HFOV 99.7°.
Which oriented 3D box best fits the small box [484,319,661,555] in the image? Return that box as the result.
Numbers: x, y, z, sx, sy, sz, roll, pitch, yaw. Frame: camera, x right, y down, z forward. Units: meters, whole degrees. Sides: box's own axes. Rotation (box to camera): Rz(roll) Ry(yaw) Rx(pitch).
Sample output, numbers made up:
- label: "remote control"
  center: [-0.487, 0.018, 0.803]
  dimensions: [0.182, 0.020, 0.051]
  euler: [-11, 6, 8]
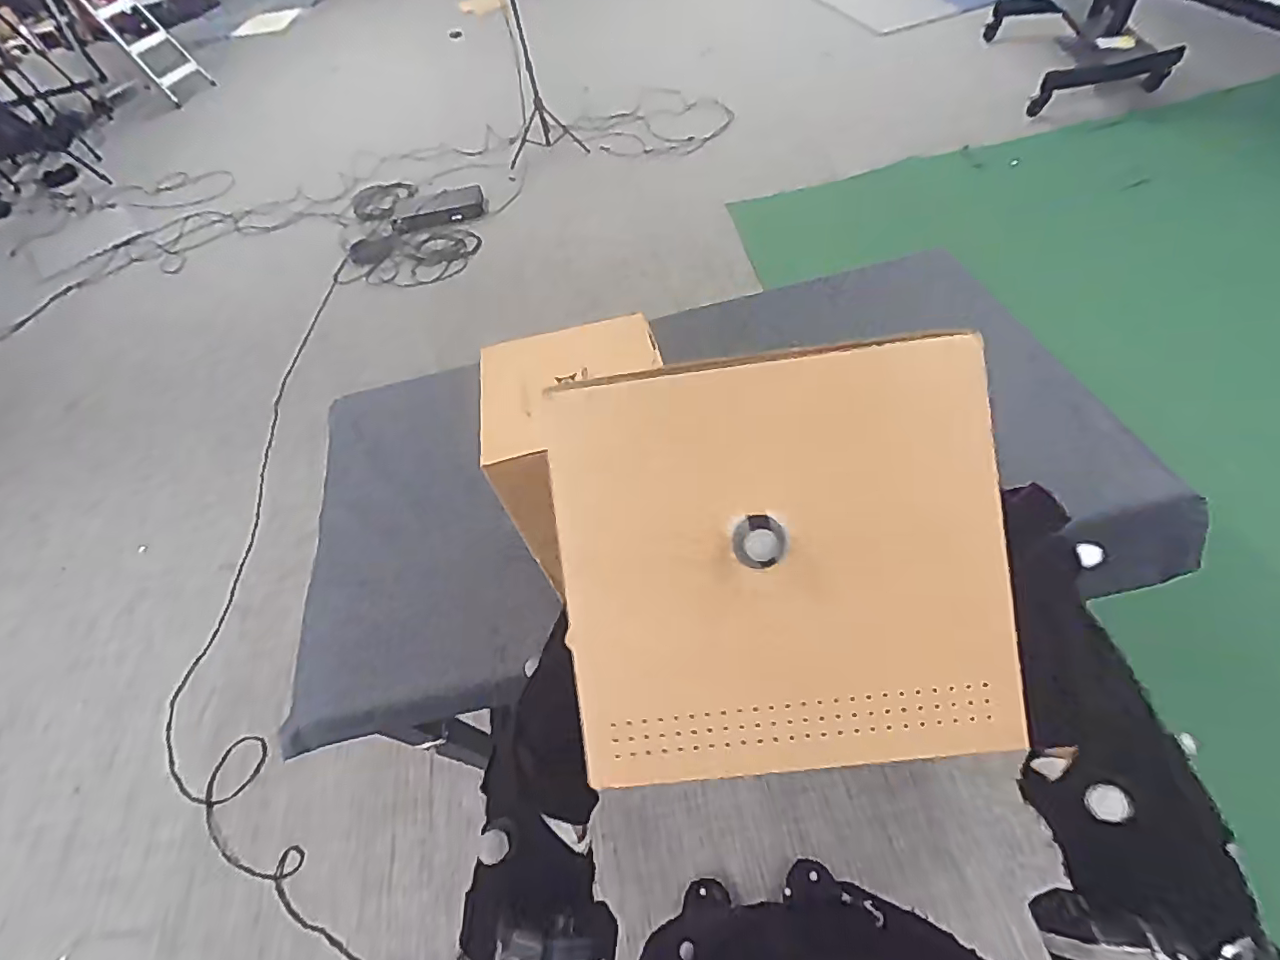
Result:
- label: "small box"
  center: [-0.055, -0.041, 0.584]
  dimensions: [0.179, 0.176, 0.168]
  euler: [-13, 51, 0]

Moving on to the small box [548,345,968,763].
- label: "small box"
  center: [0.057, 0.033, 0.306]
  dimensions: [0.179, 0.168, 0.176]
  euler: [-6, 90, 2]
